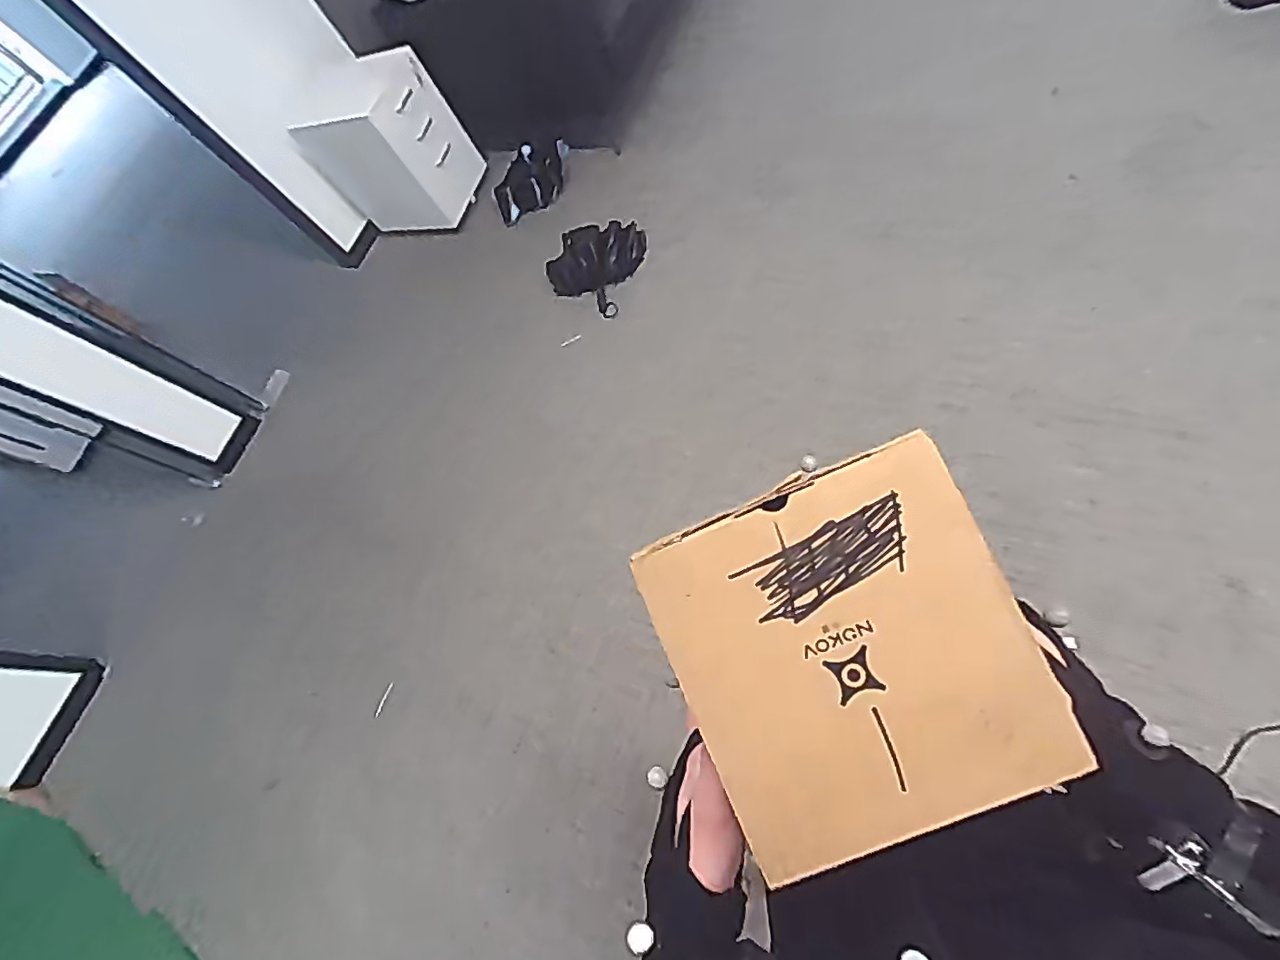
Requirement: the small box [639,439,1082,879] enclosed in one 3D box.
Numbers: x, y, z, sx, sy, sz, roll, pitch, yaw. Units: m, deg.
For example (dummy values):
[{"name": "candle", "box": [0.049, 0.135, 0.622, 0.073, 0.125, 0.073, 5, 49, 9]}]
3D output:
[{"name": "small box", "box": [0.112, 0.094, 0.349, 0.168, 0.176, 0.179, -24, 84, 5]}]
